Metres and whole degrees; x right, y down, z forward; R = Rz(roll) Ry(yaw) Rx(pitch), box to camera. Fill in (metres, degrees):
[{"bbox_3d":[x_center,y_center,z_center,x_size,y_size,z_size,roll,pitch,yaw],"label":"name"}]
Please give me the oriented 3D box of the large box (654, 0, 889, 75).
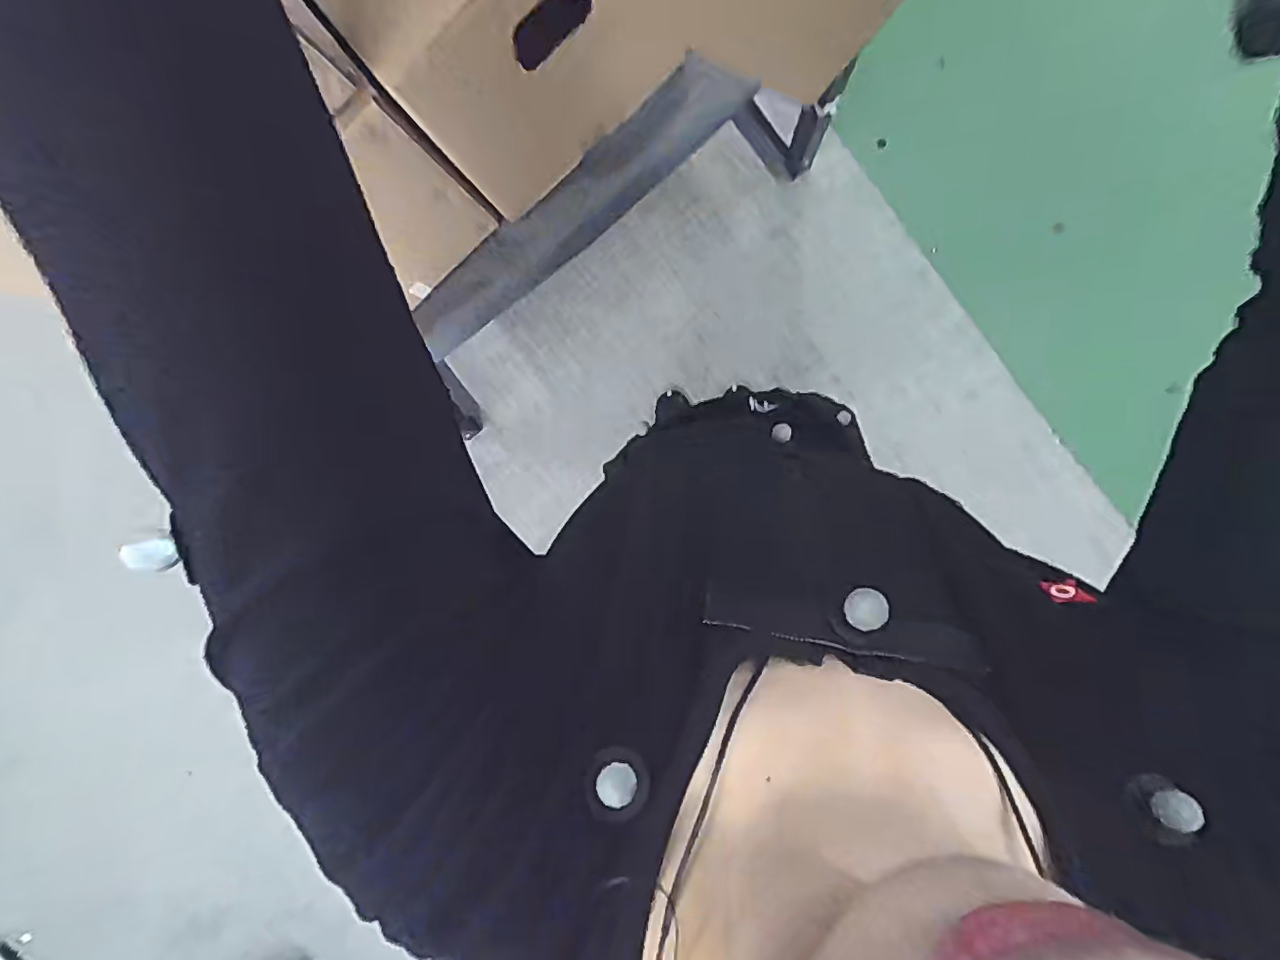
[{"bbox_3d":[-0.003,-0.441,0.212,0.408,0.320,0.320,25,118,-3],"label":"large box"}]
